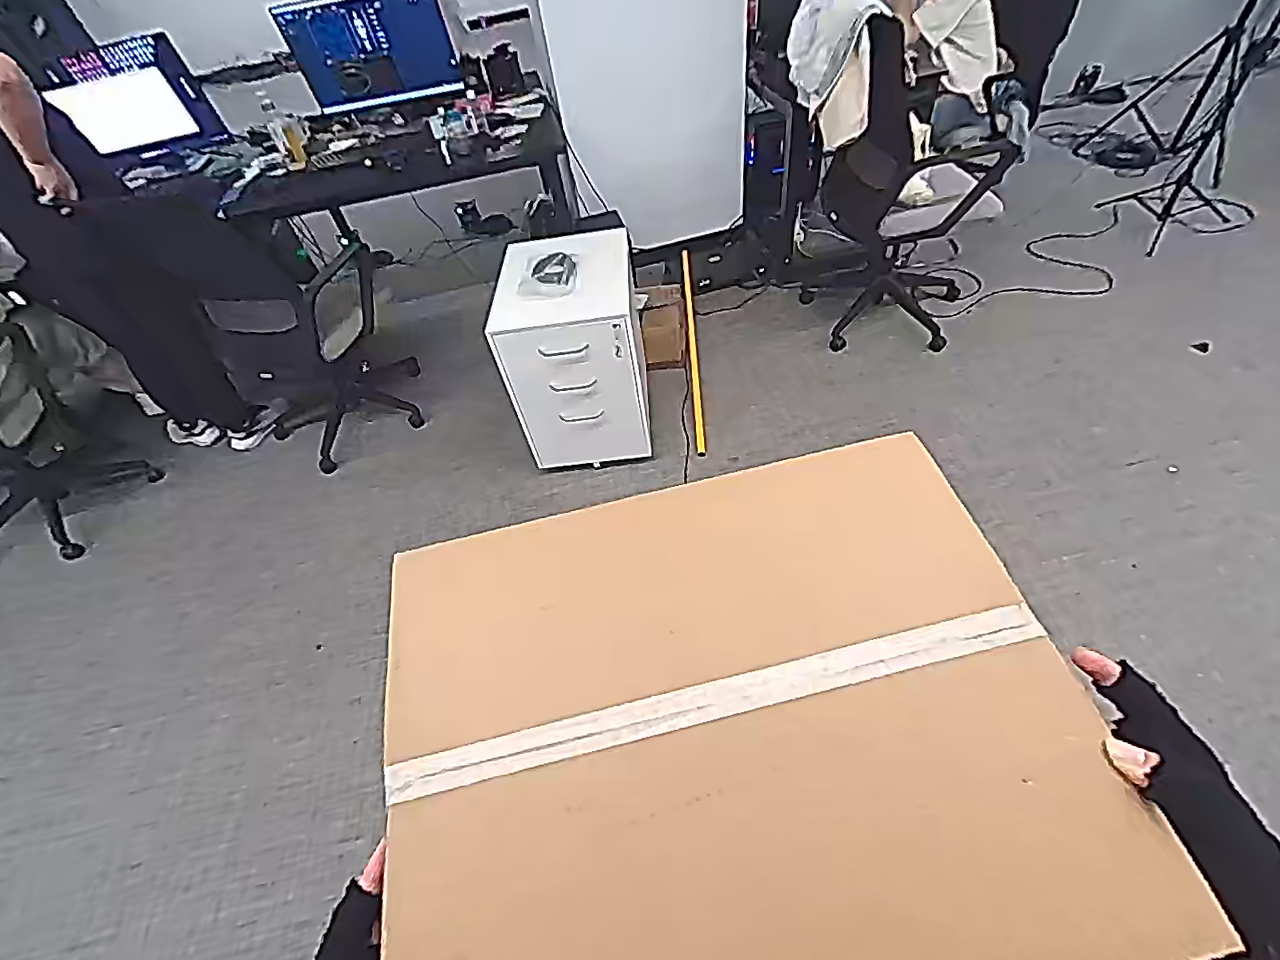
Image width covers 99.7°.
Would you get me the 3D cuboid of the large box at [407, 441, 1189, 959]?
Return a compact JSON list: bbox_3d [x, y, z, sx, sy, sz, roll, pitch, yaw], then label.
[{"bbox_3d":[0.064,0.220,0.464,0.408,0.320,0.320,-14,58,-2],"label":"large box"}]
